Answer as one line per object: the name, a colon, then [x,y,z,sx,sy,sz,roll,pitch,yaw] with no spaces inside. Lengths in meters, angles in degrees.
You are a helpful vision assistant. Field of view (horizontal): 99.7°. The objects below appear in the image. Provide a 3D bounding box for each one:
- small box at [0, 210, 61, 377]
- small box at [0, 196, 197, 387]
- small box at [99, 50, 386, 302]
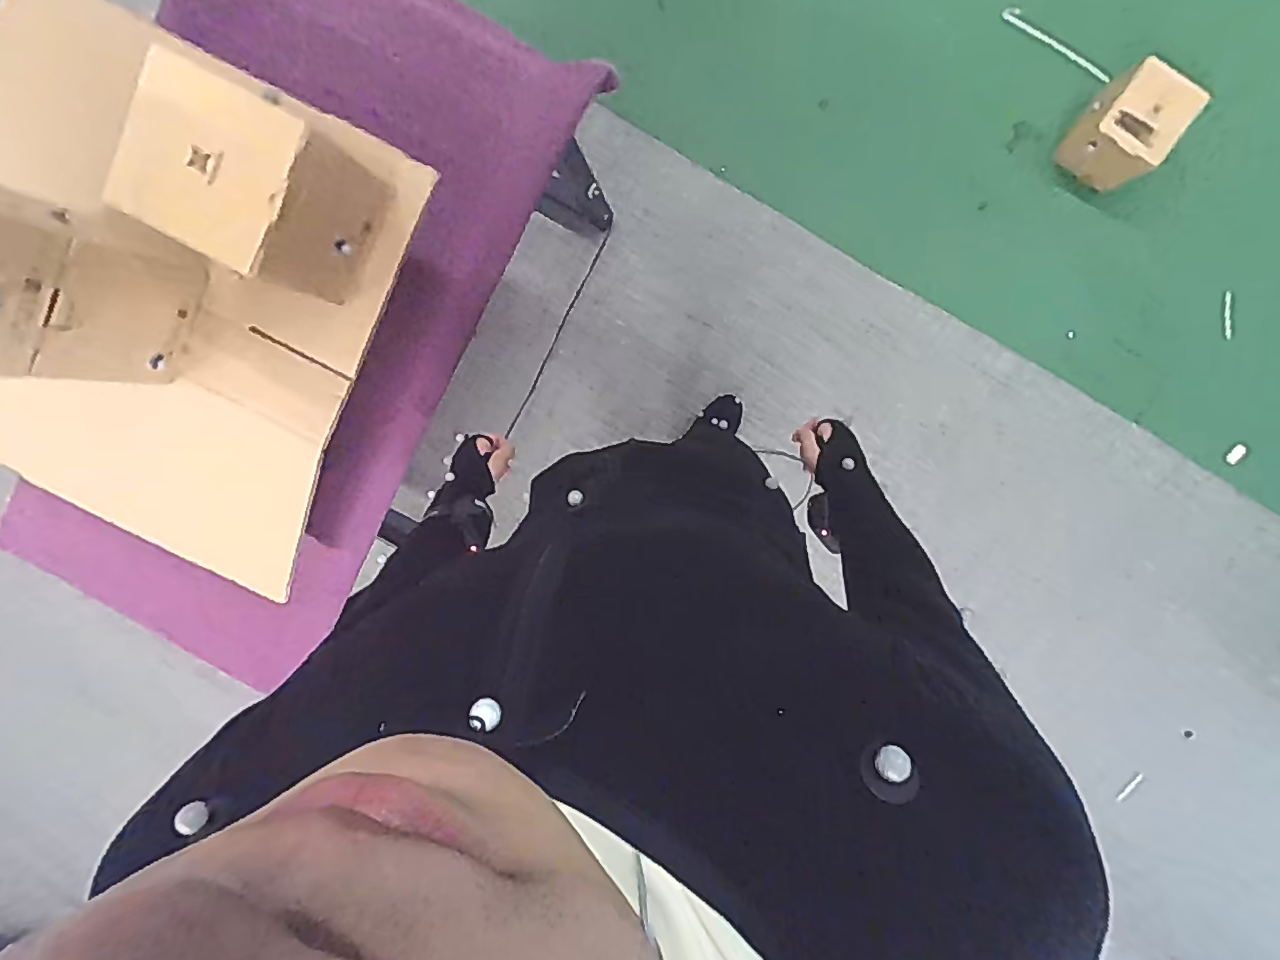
small box: [-0.707,-0.200,0.485,0.179,0.176,0.168,27,99,-1]
small box: [-0.694,-0.222,0.648,0.179,0.176,0.168,27,98,0]
small box: [-0.435,-0.324,0.619,0.179,0.176,0.168,27,99,-1]
